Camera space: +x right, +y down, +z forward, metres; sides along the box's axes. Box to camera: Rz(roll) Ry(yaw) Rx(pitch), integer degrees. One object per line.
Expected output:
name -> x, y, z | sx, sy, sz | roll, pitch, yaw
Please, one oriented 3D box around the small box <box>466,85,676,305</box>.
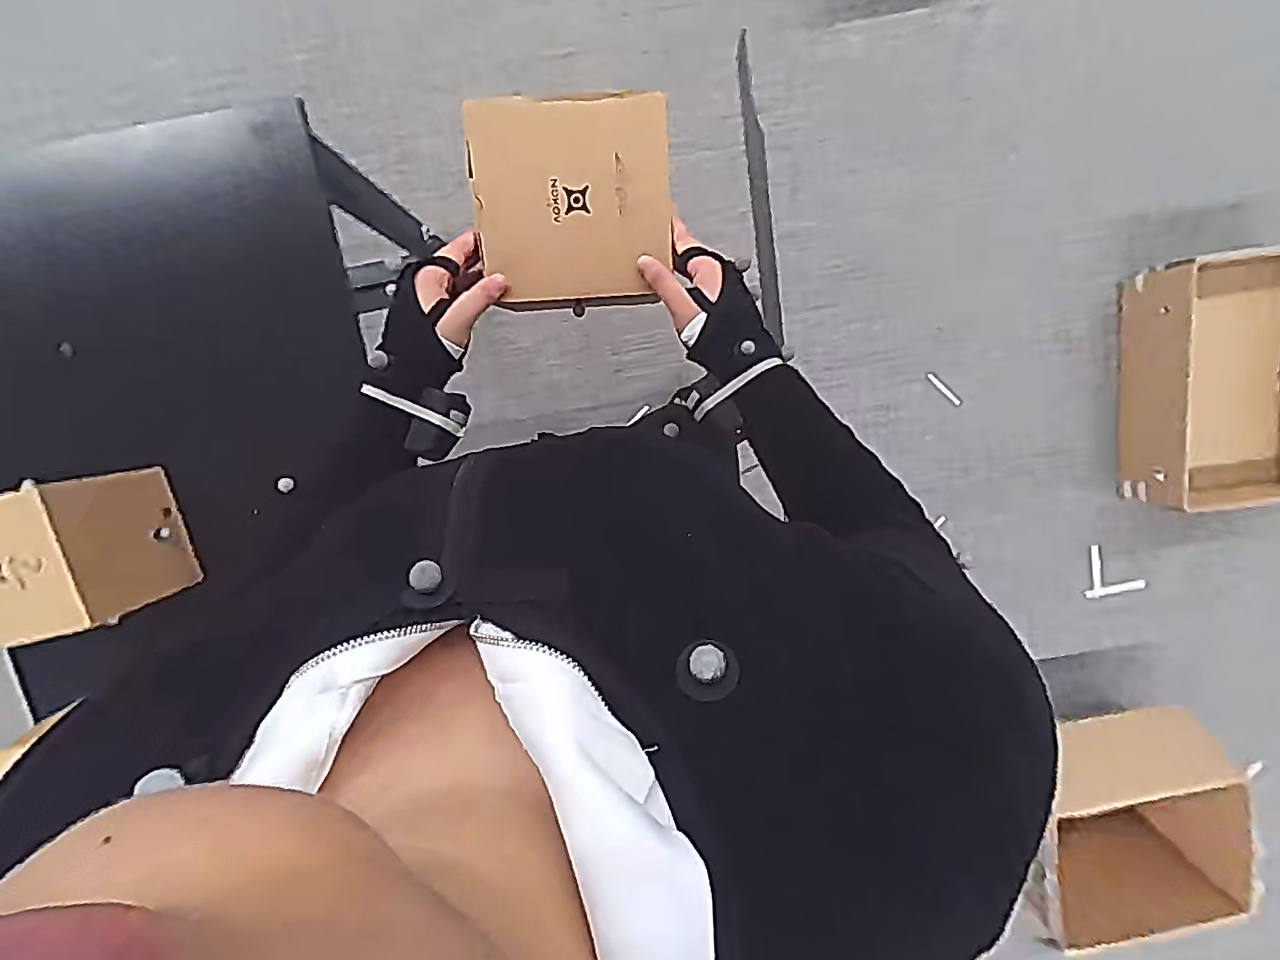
small box -> -0.061, -0.272, 0.553 | 0.179, 0.176, 0.168 | -4, 106, -3
